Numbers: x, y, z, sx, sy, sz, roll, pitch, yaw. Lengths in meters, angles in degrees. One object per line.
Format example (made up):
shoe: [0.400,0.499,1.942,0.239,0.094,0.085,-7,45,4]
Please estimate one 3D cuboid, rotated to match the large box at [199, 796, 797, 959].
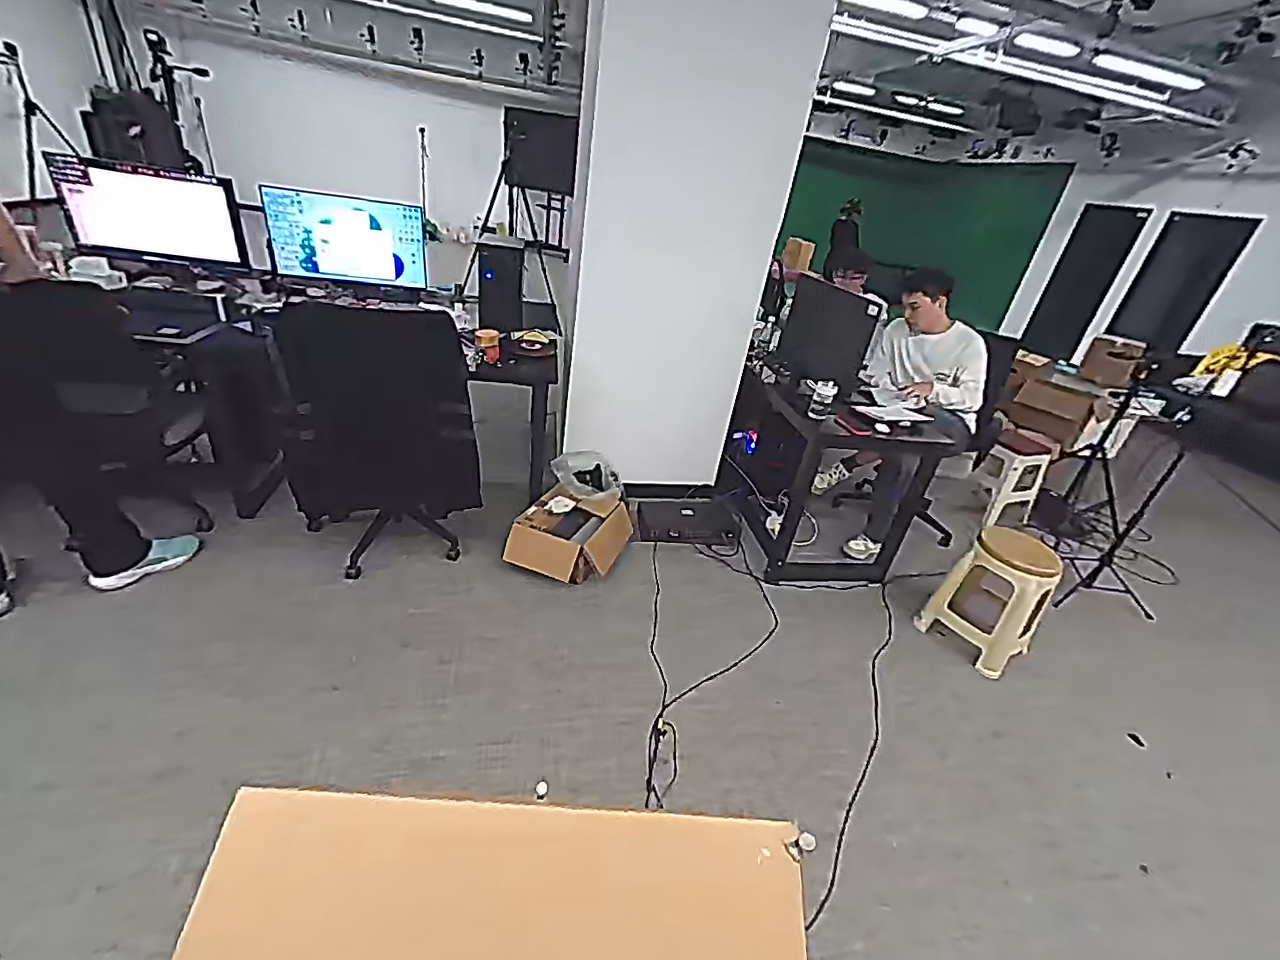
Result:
large box: [-0.107,0.454,0.456,0.408,0.320,0.320,5,60,-4]
